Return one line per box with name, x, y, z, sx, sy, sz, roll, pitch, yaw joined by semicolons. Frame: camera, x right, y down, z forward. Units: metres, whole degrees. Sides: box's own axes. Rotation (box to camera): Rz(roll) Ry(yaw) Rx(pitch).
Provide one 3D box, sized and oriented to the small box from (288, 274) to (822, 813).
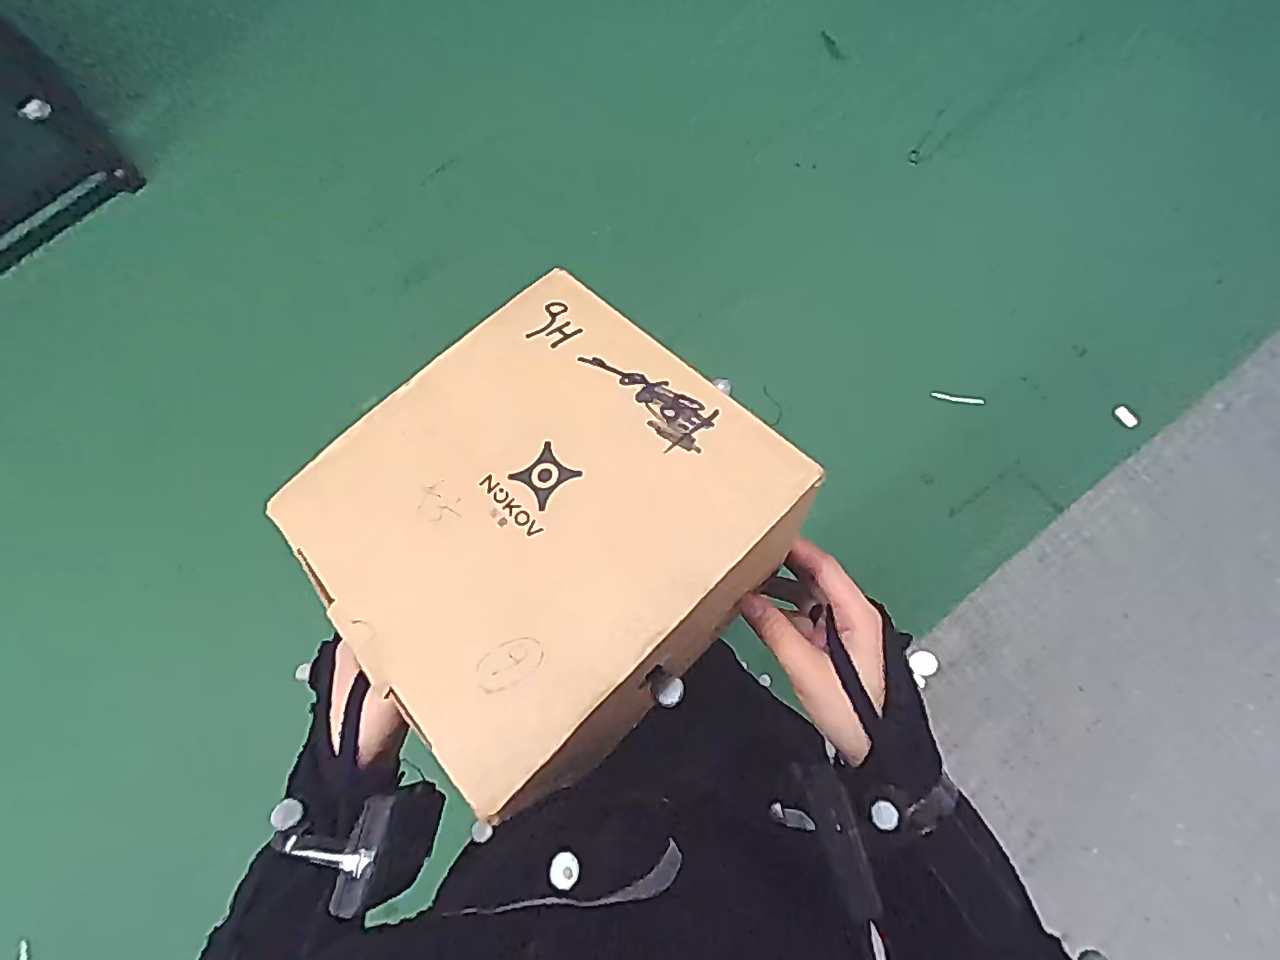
small box;-0.030;0.036;0.297;0.179;0.176;0.168;-43;68;-10
